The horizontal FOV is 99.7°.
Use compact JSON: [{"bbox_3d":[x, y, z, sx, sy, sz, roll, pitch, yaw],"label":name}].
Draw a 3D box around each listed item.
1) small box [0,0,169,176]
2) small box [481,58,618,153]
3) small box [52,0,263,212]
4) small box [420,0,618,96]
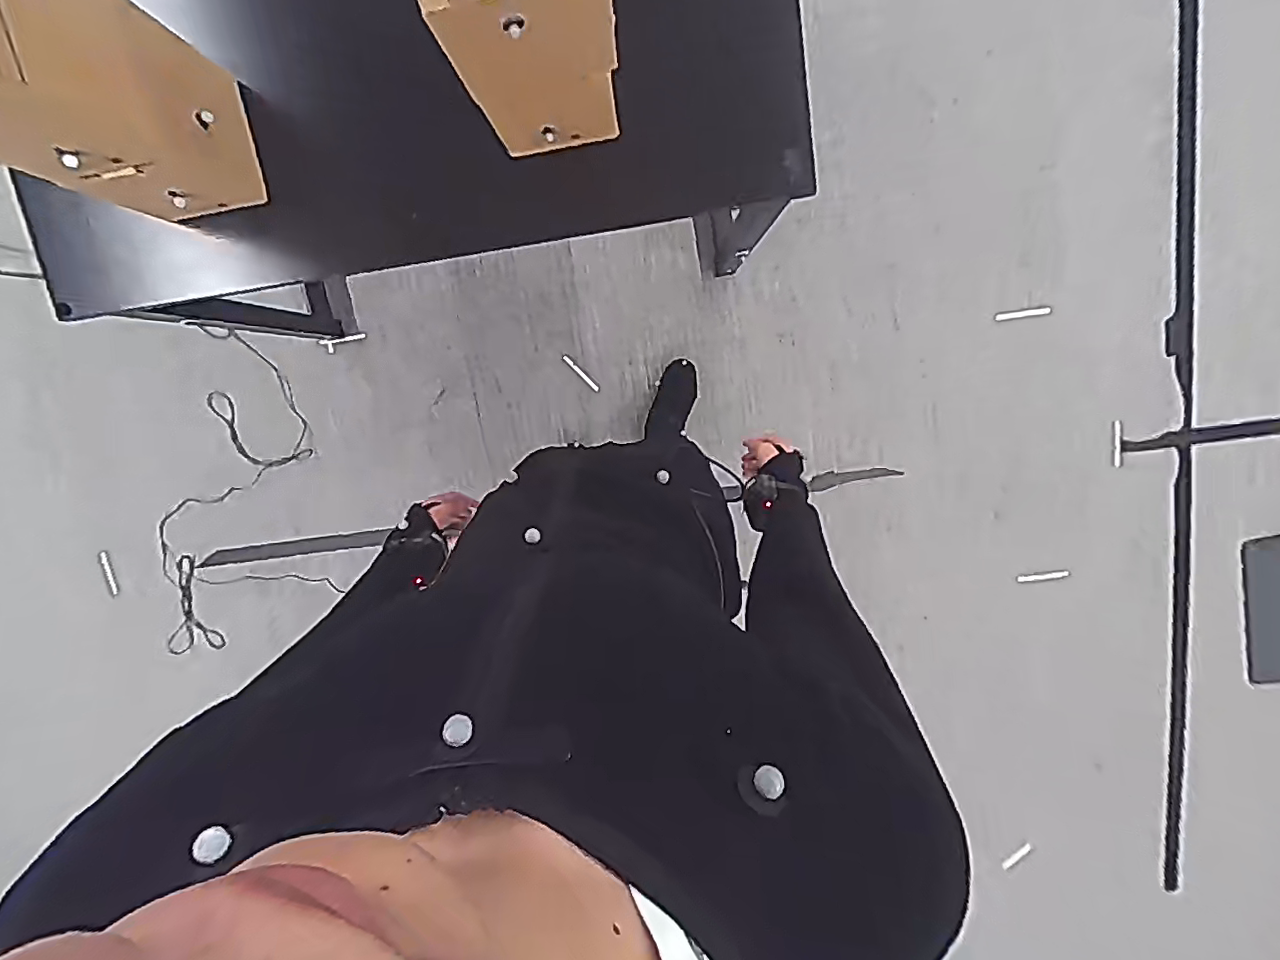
[{"bbox_3d":[-0.656,-0.450,0.561,0.168,0.176,0.179,-9,100,3],"label":"small box"},{"bbox_3d":[-0.124,-0.563,0.702,0.168,0.176,0.179,-9,100,3],"label":"small box"},{"bbox_3d":[-0.654,-0.478,0.724,0.168,0.176,0.179,-10,101,2],"label":"small box"},{"bbox_3d":[-0.125,-0.528,0.542,0.179,0.176,0.168,-13,100,2],"label":"small box"}]
